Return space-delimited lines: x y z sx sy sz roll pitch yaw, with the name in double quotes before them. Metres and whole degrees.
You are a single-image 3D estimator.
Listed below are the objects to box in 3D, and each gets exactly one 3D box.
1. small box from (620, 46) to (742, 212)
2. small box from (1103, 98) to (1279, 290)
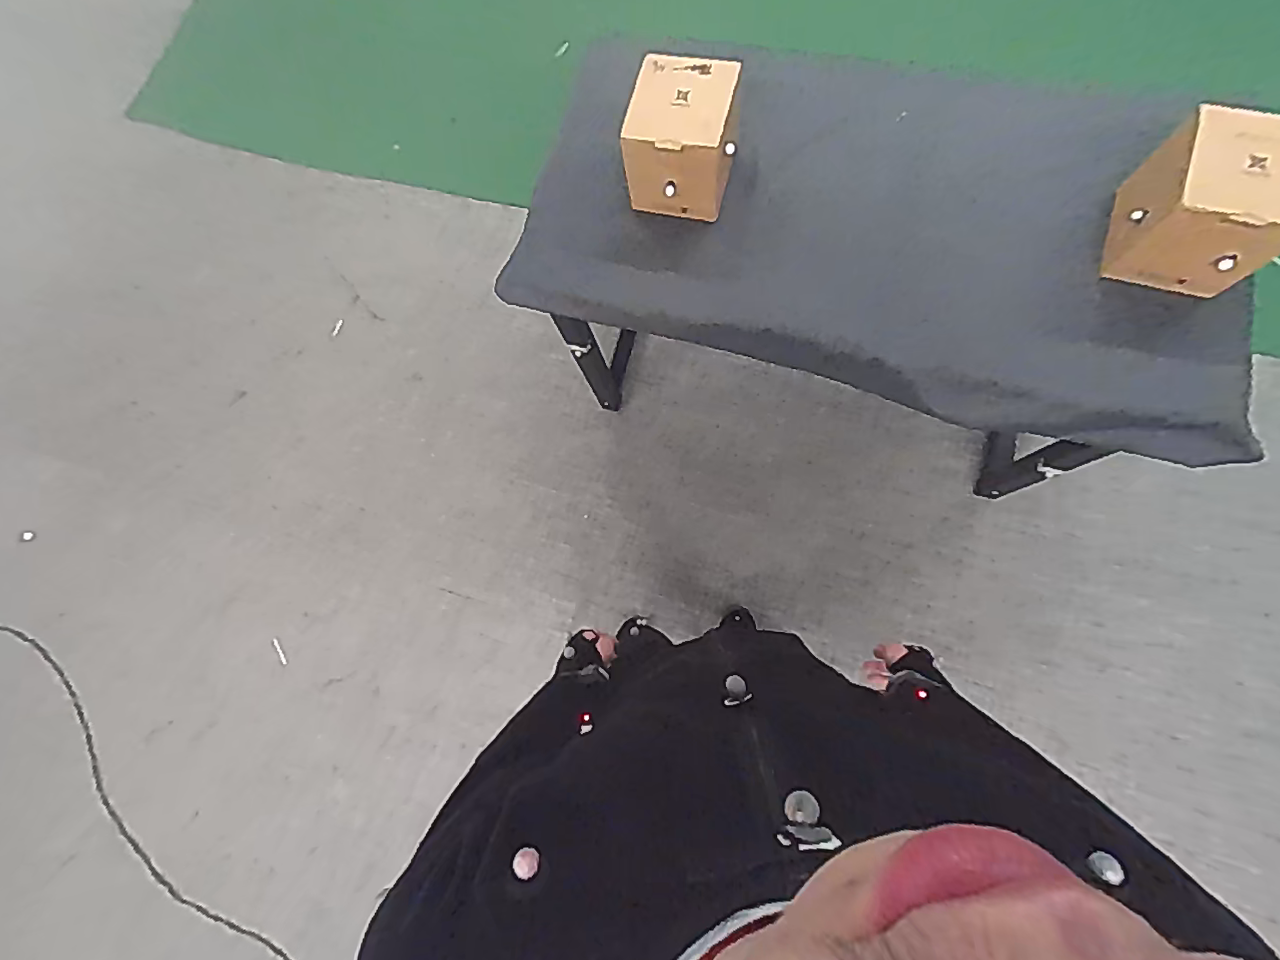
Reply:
"small box" 0.077 -0.608 0.953 0.168 0.176 0.179 14 80 9
"small box" 0.849 -0.417 0.811 0.168 0.176 0.179 18 79 10
